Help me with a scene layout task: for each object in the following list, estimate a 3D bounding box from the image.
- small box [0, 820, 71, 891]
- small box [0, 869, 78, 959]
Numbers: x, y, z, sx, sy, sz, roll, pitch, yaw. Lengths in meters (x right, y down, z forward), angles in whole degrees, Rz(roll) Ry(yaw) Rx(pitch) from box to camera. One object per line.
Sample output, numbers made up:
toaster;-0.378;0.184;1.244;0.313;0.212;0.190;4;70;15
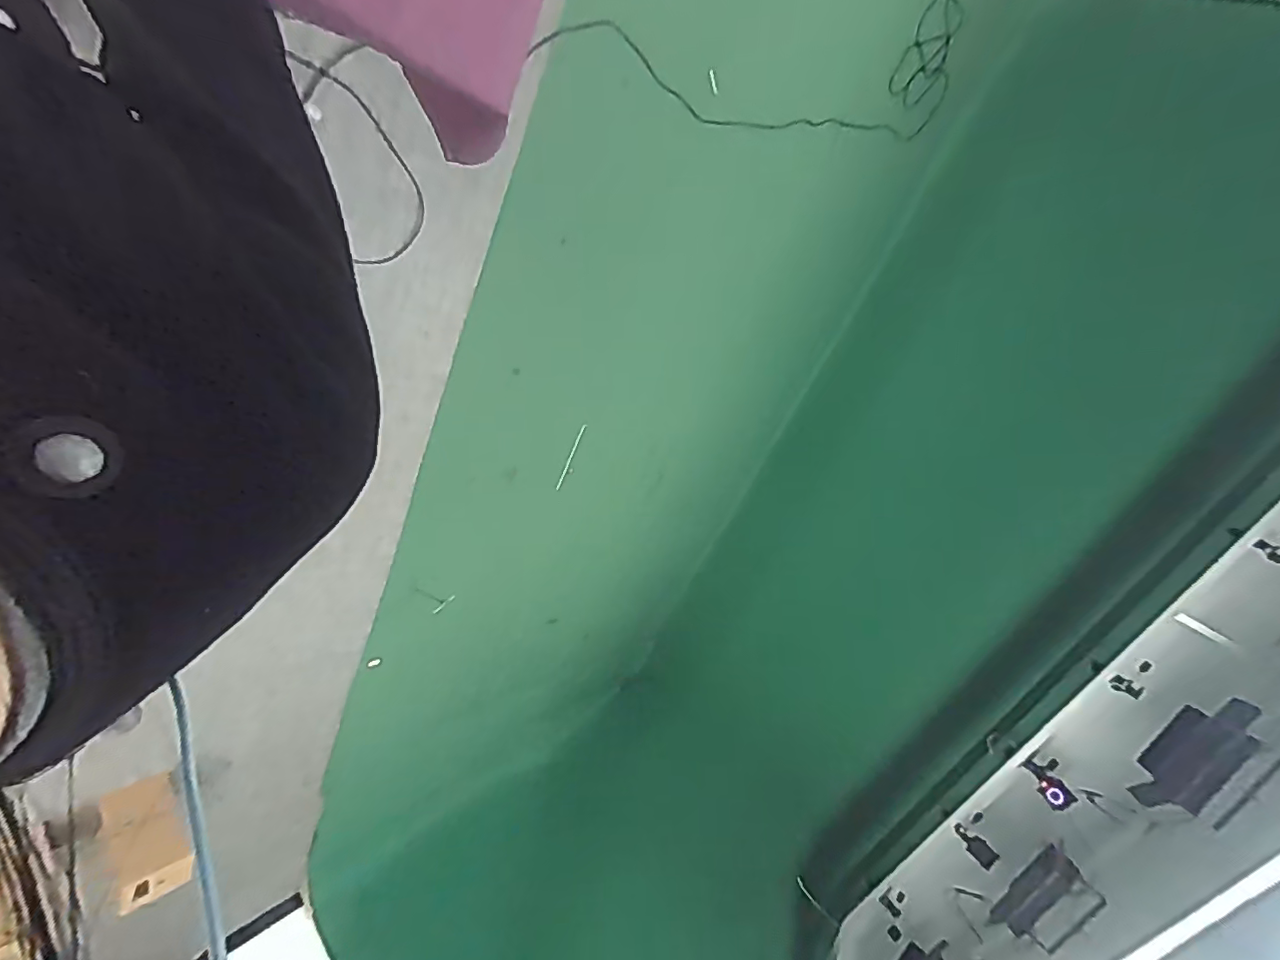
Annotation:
small box;-1.859;1.176;1.622;0.168;0.176;0.179;6;117;-59
small box;-1.751;1.262;1.531;0.179;0.176;0.168;6;118;-59
